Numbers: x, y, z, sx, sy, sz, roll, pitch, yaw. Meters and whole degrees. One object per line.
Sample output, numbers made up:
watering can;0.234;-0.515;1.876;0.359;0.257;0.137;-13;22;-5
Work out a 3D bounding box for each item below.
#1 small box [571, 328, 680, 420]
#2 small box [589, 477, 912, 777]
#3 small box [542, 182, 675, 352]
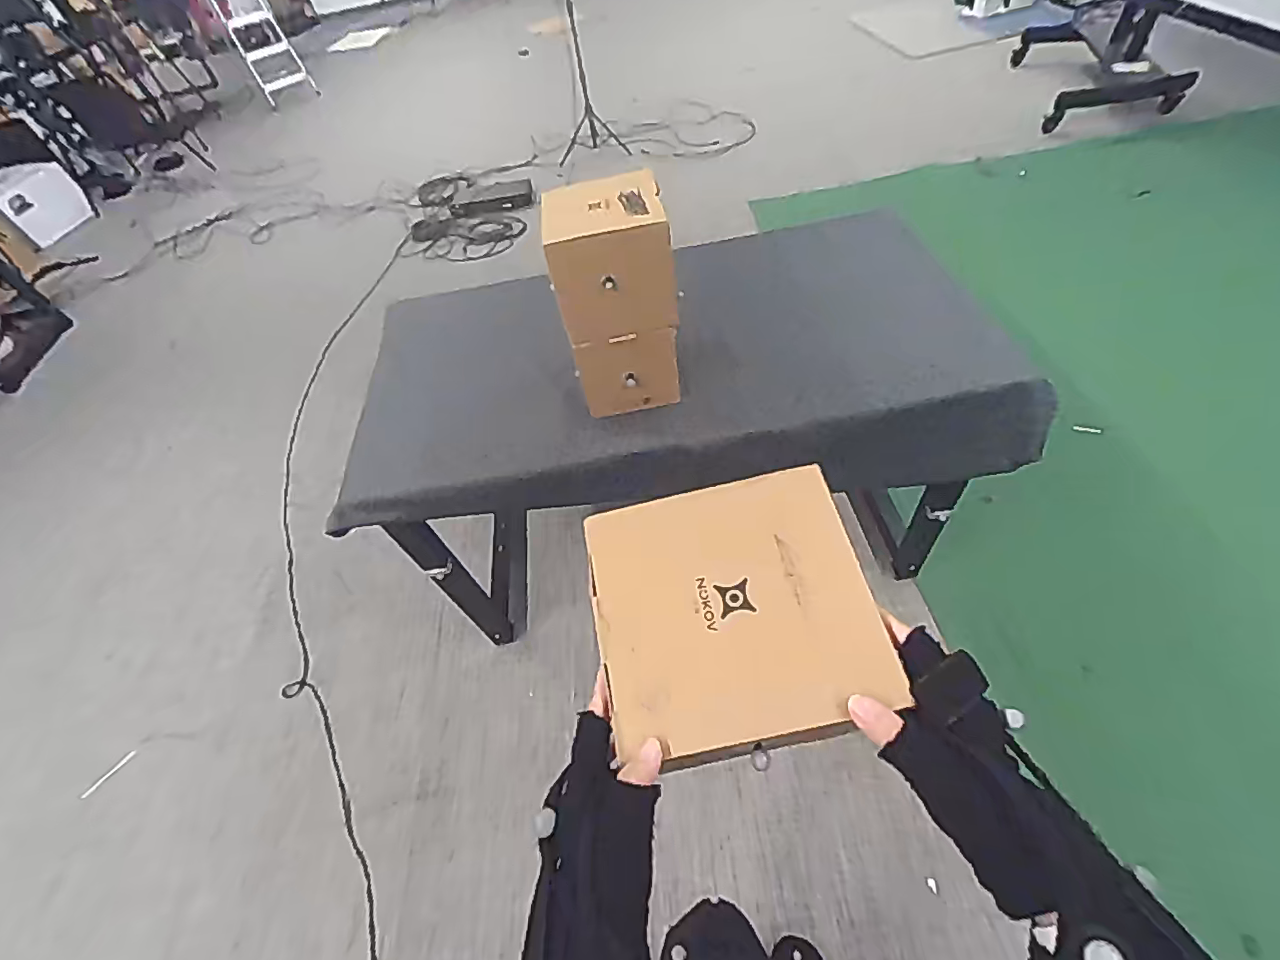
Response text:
small box;-0.027;-0.224;0.965;0.168;0.176;0.179;-11;52;1
small box;0.071;0.124;0.424;0.179;0.176;0.168;-14;60;0
small box;-0.043;-0.323;0.834;0.179;0.176;0.168;-11;51;3
